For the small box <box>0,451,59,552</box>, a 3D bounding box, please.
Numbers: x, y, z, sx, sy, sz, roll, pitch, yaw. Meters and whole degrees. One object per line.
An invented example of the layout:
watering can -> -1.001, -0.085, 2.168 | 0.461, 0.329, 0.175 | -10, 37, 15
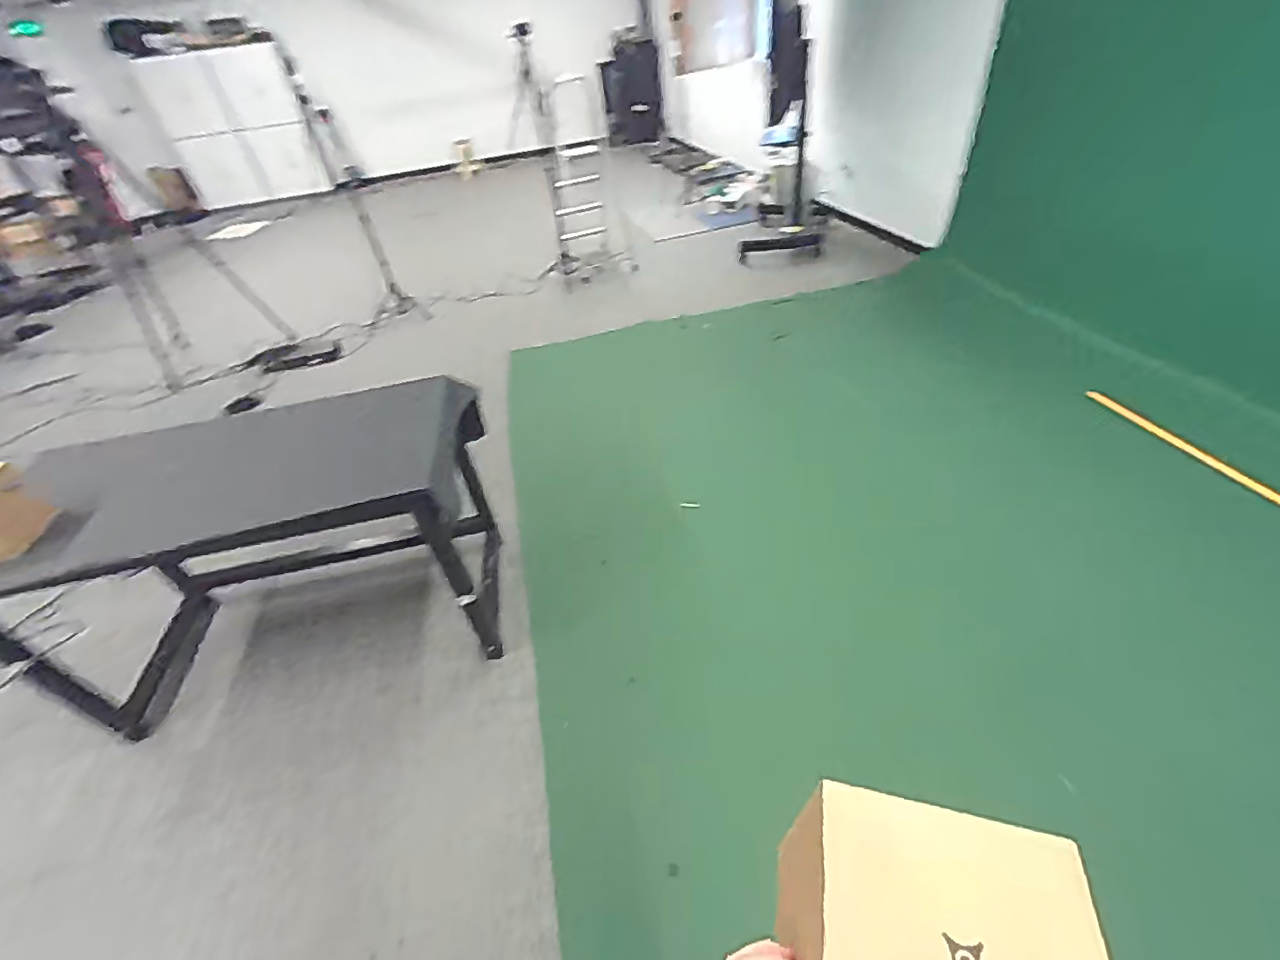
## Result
small box -> -1.538, 0.061, 1.261 | 0.168, 0.176, 0.179 | -13, 40, -7
